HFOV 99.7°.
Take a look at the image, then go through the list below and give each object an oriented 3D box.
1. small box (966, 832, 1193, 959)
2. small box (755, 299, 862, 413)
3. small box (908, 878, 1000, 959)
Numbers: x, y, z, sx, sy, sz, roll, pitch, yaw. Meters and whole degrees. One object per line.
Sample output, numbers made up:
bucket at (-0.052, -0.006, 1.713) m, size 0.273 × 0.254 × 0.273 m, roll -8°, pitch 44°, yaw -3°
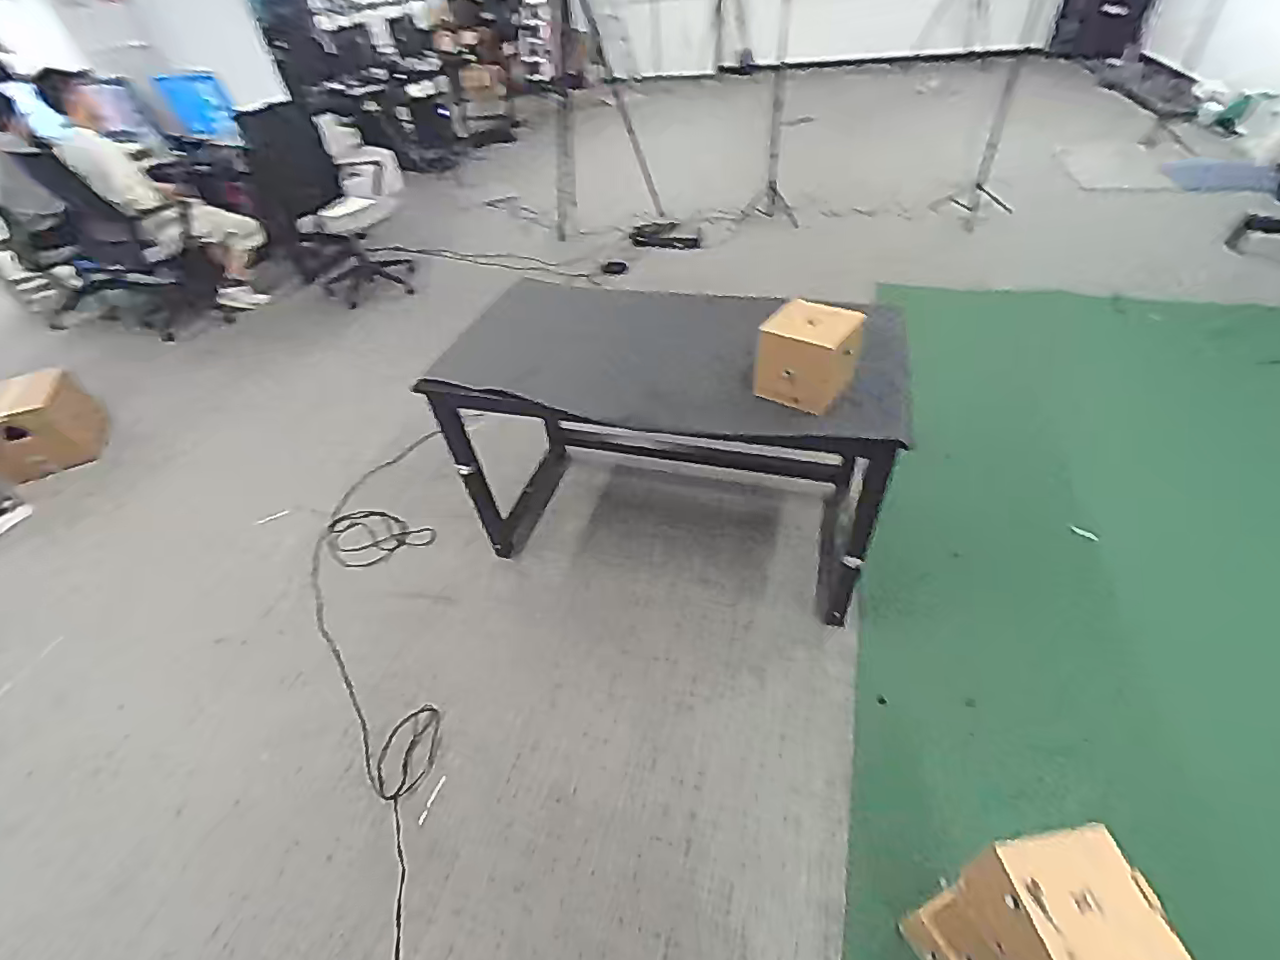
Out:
small box at (0.629, 0.646, 0.798) m, size 0.179 × 0.176 × 0.168 m, roll -9°, pitch 43°, yaw -2°
small box at (0.367, -0.273, 1.197) m, size 0.168 × 0.176 × 0.179 m, roll 25°, pitch 50°, yaw 29°
small box at (0.640, 0.885, 1.025) m, size 0.179 × 0.176 × 0.168 m, roll -22°, pitch 45°, yaw -16°
